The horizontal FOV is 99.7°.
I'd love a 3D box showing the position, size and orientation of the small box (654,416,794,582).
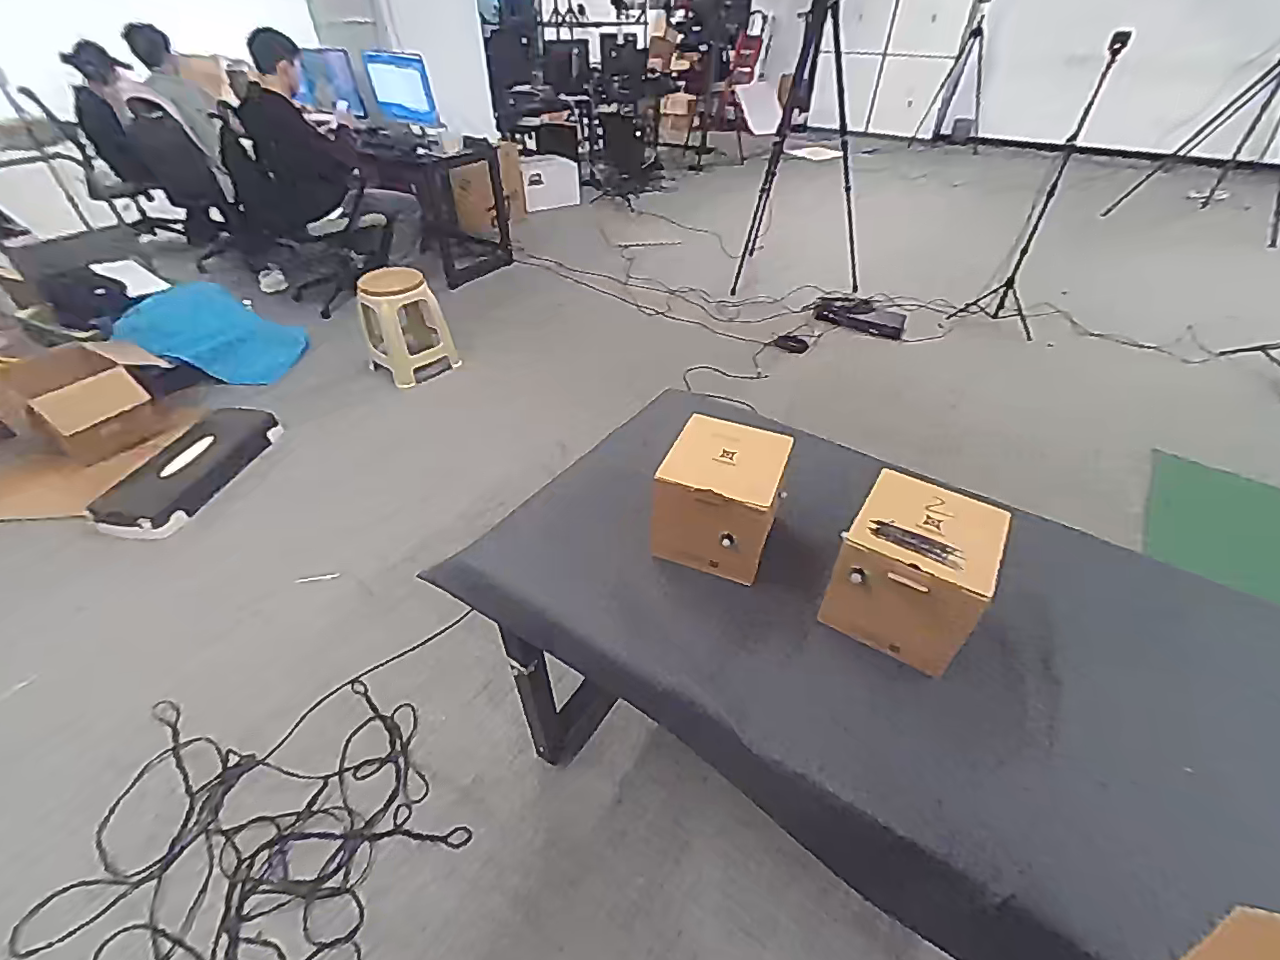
[{"bbox_3d":[0.127,0.030,0.844,0.168,0.176,0.179,17,42,16],"label":"small box"}]
